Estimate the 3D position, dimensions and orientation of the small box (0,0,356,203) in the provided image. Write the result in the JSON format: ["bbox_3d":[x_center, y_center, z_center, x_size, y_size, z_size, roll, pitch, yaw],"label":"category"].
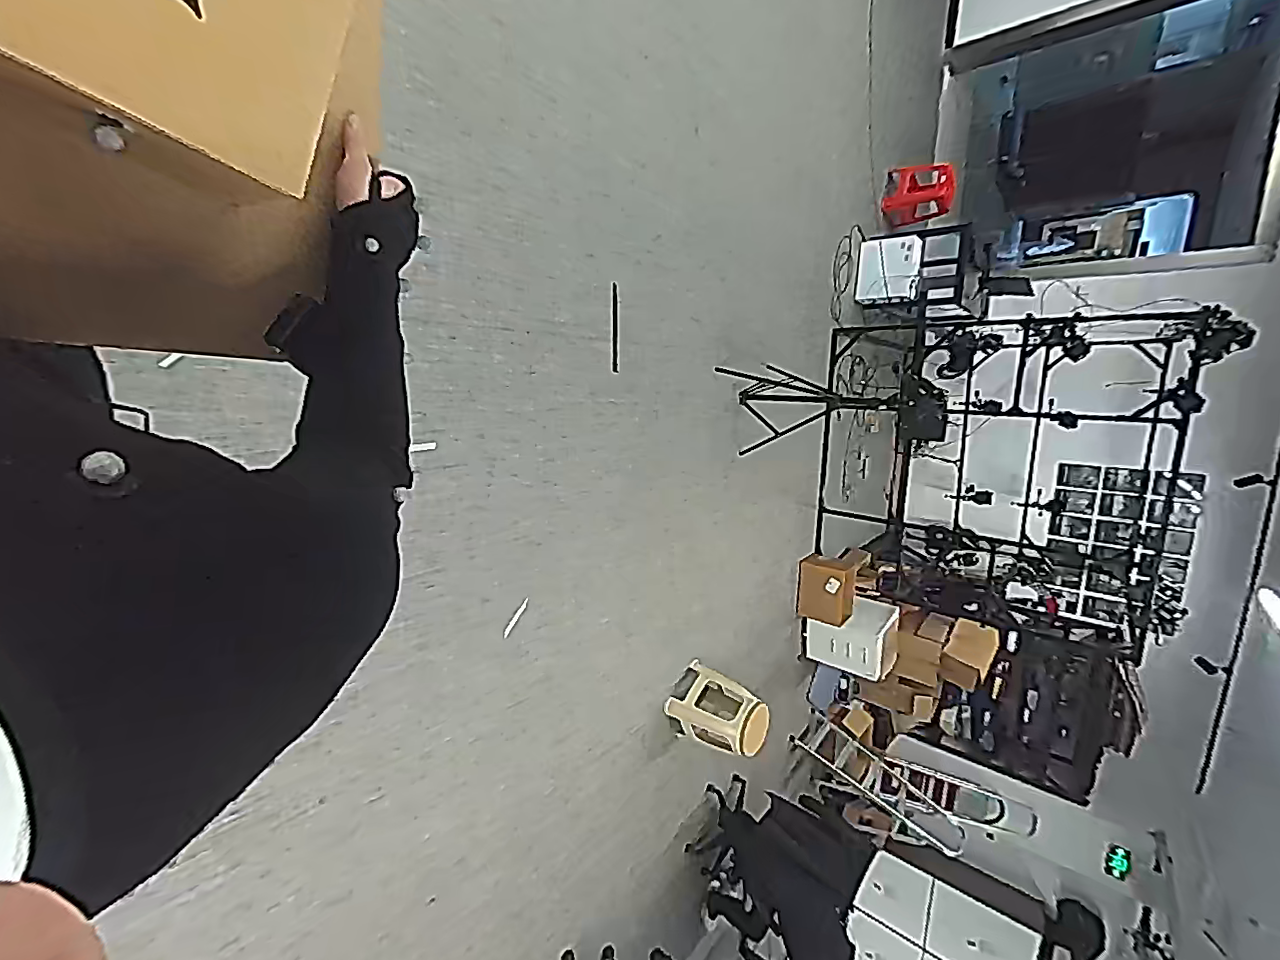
[{"bbox_3d":[-0.333,-0.315,0.371,0.179,0.176,0.168,14,96,-49],"label":"small box"}]
